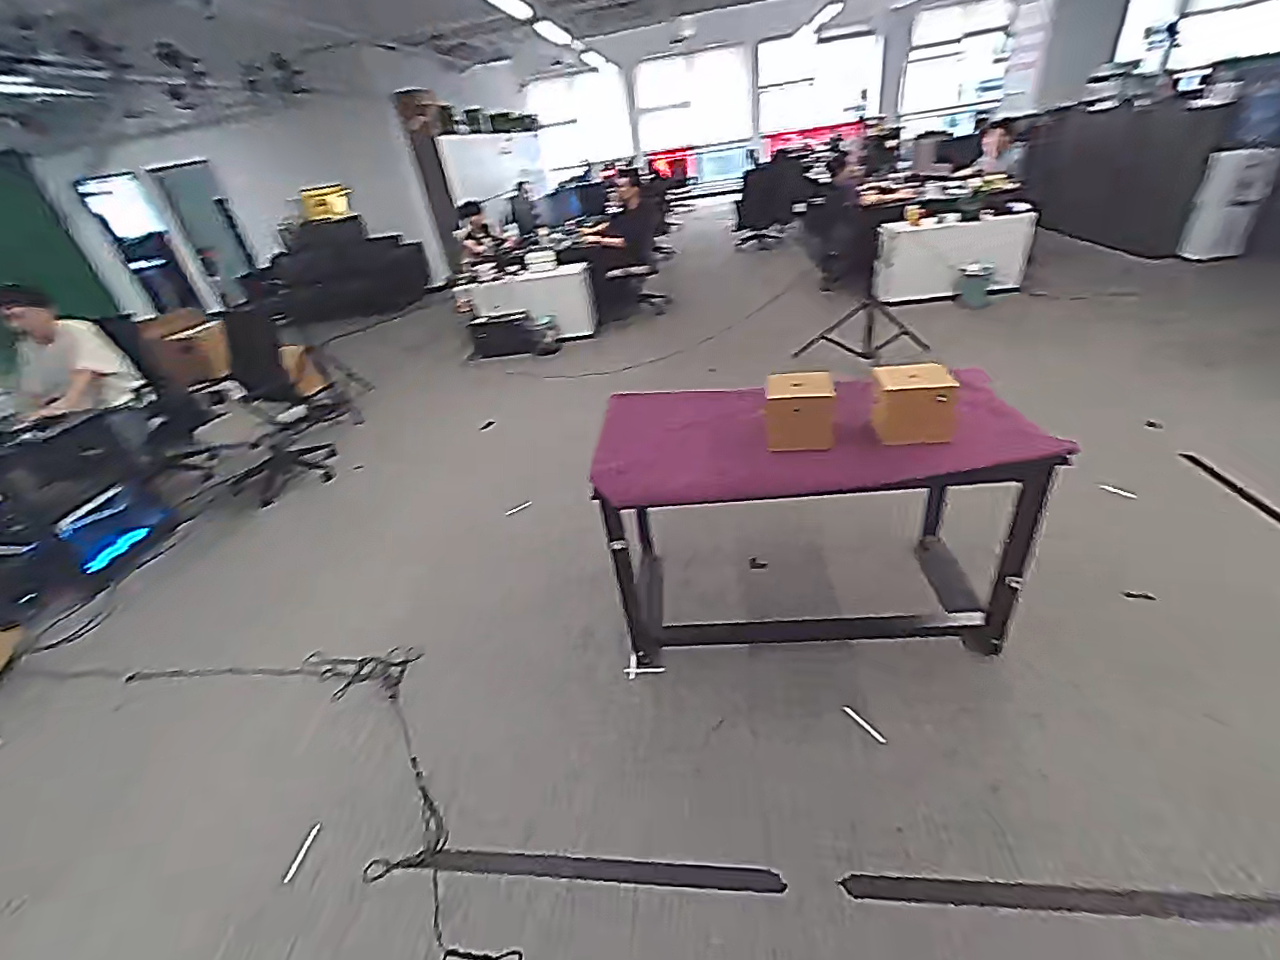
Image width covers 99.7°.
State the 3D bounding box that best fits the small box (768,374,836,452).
[{"bbox_3d":[0.462,-0.191,1.551,0.179,0.176,0.168,1,34,15],"label":"small box"}]

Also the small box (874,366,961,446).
[{"bbox_3d":[0.756,-0.203,1.495,0.179,0.176,0.168,-2,31,11],"label":"small box"}]
